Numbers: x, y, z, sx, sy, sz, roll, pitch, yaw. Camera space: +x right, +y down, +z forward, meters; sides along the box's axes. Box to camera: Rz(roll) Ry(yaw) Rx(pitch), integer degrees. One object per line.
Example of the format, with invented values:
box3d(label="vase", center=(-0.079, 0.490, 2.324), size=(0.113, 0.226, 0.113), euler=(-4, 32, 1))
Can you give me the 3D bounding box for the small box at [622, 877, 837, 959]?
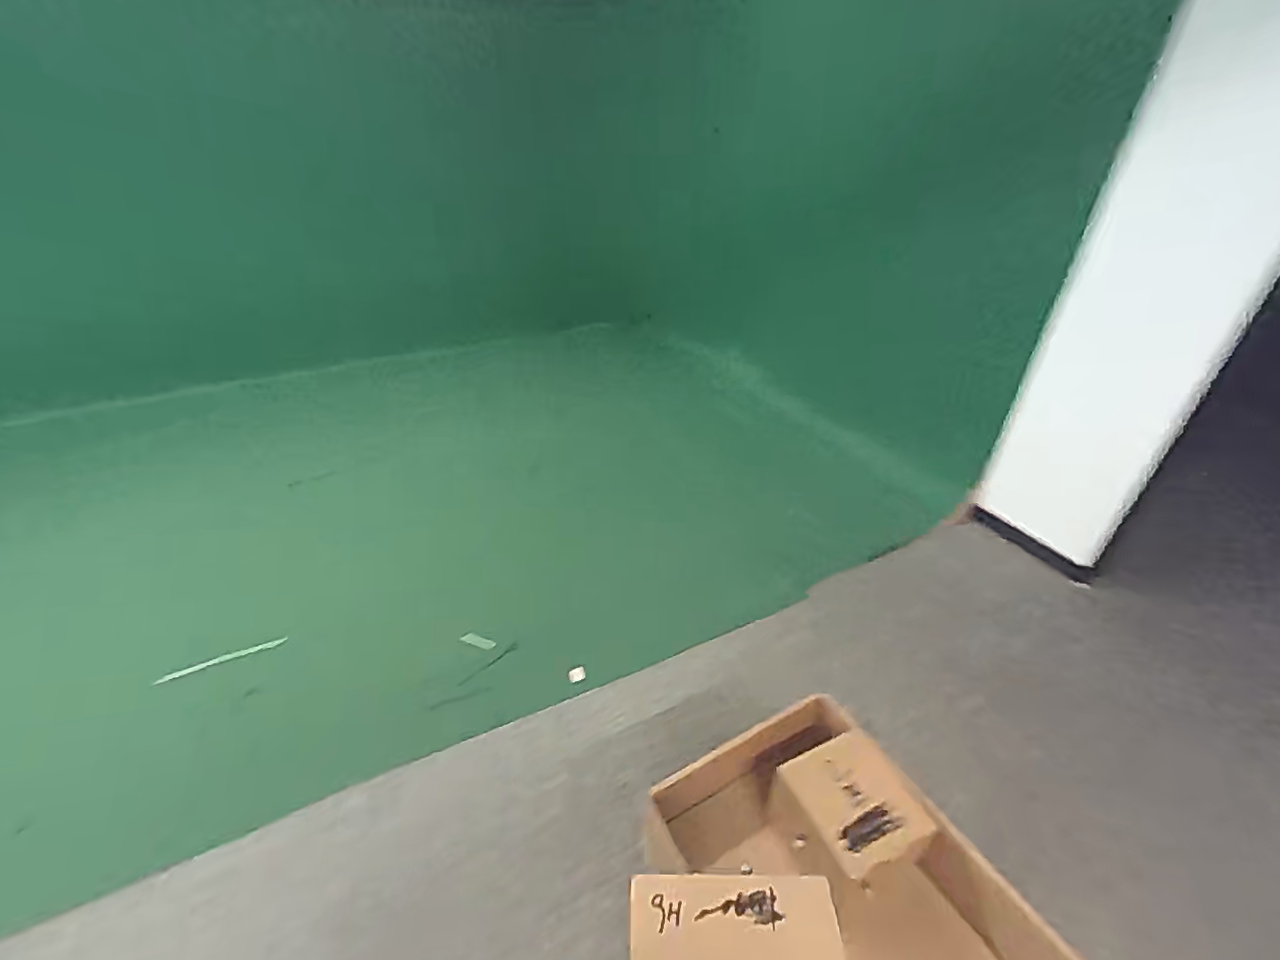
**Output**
box3d(label="small box", center=(0.067, 0.448, 0.436), size=(0.168, 0.176, 0.179), euler=(1, 40, -2))
